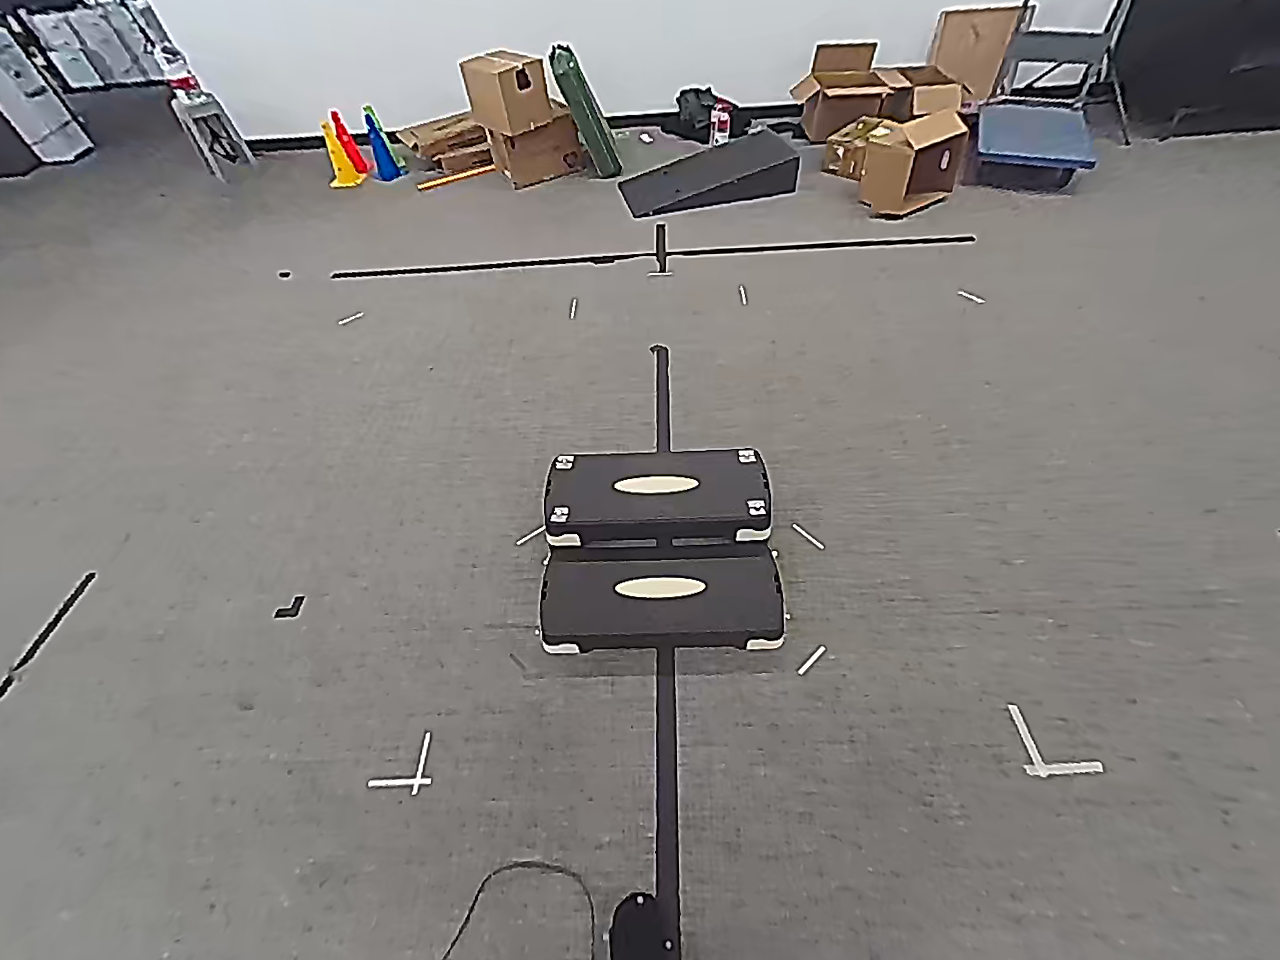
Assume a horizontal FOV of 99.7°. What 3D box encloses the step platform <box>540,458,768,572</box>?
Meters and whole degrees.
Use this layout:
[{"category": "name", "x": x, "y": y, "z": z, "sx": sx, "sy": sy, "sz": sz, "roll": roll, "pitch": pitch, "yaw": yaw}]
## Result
[{"category": "step platform", "x": 0.040, "y": 0.102, "z": 1.656, "sx": 0.684, "sy": 0.204, "sz": 0.286, "roll": -2, "pitch": 51, "yaw": 1}]
